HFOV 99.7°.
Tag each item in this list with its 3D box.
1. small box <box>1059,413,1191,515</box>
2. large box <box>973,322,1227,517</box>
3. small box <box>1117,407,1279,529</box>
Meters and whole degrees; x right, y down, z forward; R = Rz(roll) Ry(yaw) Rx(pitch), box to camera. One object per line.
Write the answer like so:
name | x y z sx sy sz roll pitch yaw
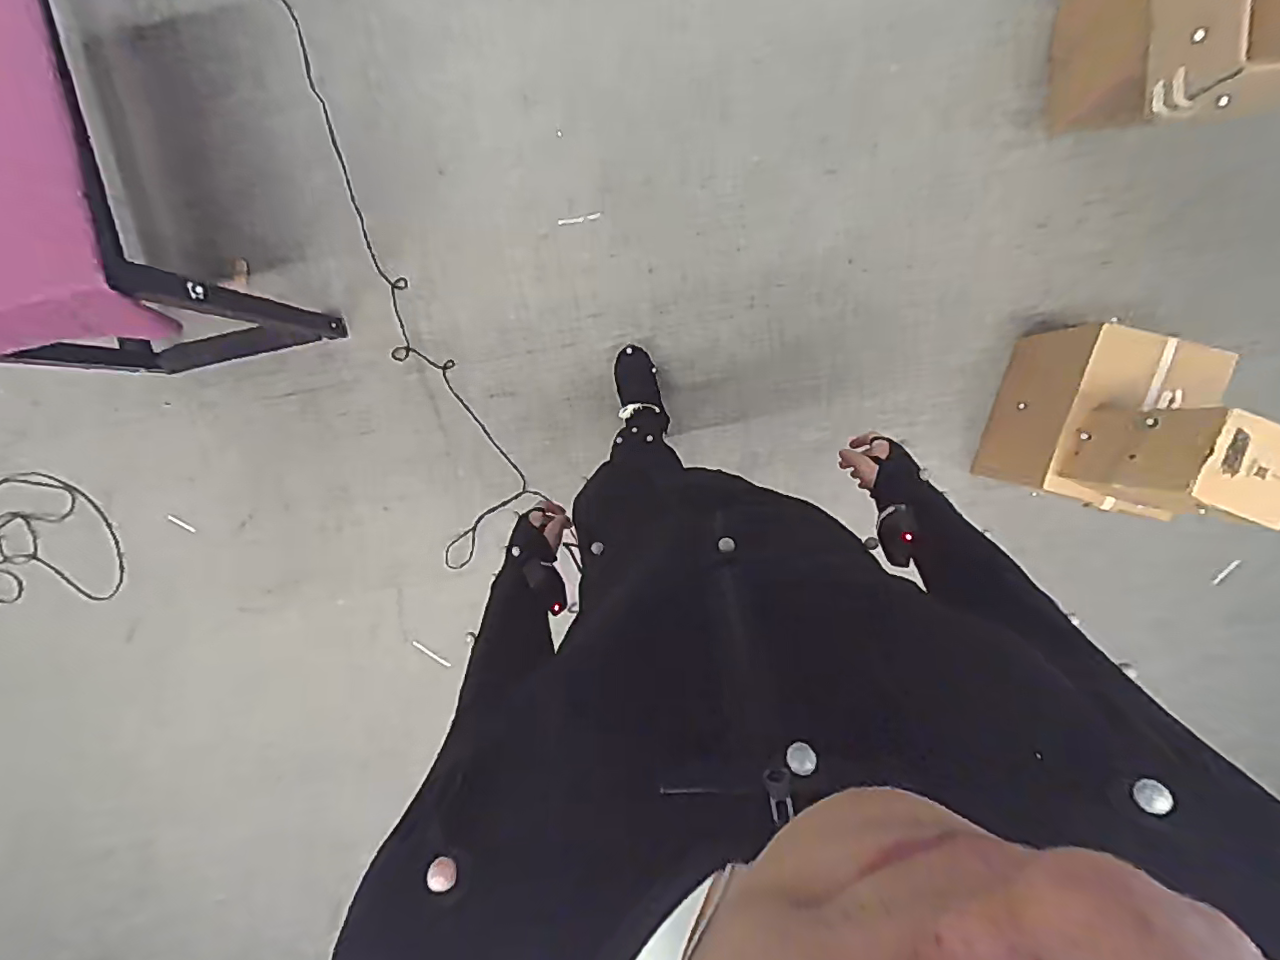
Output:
small box | 1.077 -0.043 1.172 0.179 0.176 0.168 21 98 1
large box | 1.149 -0.151 1.401 0.320 0.320 0.408 14 98 0
small box | 1.063 -0.027 1.009 0.179 0.176 0.168 21 98 0
